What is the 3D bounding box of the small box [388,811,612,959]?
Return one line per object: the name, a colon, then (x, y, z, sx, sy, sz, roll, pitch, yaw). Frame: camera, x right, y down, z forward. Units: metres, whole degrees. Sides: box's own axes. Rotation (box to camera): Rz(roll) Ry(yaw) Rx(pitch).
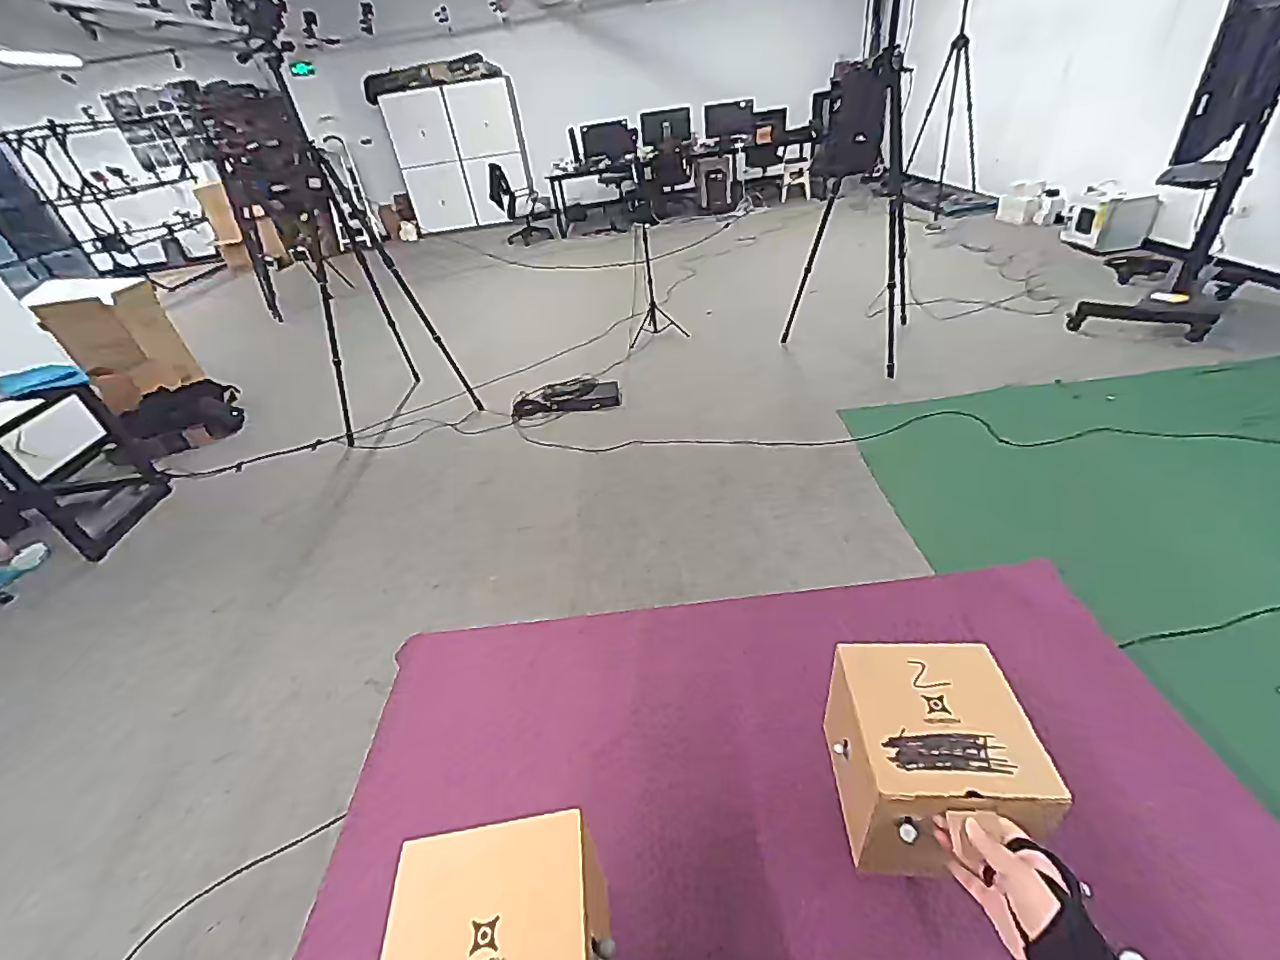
small box: (-0.117, 0.442, 0.491, 0.168, 0.176, 0.179, -9, 36, -3)
